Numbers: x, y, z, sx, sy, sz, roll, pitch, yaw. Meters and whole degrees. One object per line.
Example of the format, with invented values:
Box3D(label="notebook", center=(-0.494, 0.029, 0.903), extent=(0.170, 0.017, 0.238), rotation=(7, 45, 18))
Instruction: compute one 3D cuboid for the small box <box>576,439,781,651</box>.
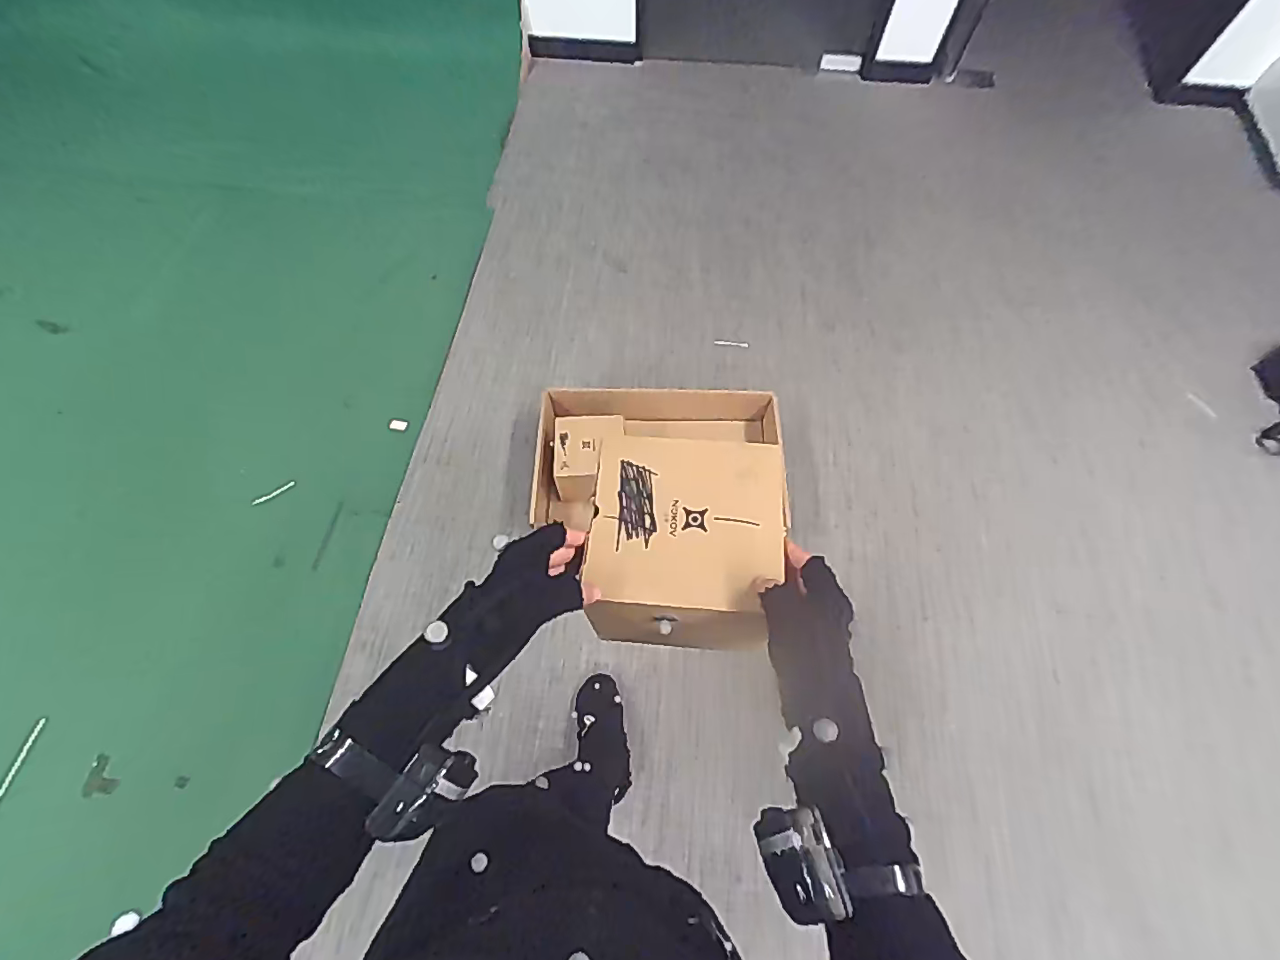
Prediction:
Box3D(label="small box", center=(0.043, 0.074, 0.560), extent=(0.179, 0.176, 0.168), rotation=(4, 63, 4))

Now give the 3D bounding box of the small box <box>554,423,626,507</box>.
Box3D(label="small box", center=(-0.125, -0.036, 1.399), extent=(0.179, 0.176, 0.168), rotation=(-1, 65, -2))
